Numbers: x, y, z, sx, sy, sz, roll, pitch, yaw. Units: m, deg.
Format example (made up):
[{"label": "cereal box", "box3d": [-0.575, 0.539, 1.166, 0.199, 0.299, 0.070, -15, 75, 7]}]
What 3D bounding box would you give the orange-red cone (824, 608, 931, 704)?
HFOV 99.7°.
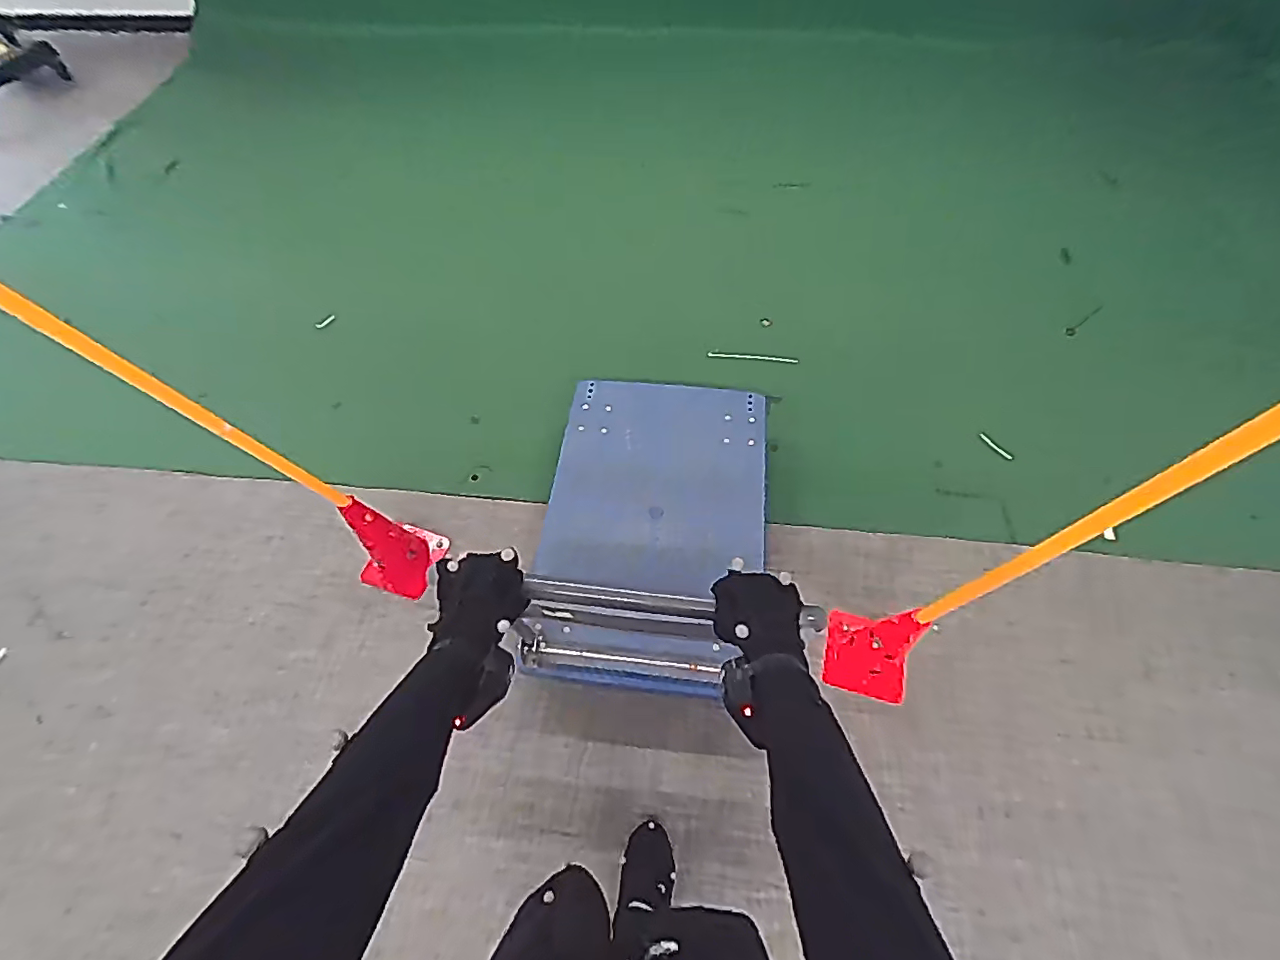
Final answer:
[{"label": "orange-red cone", "box3d": [0.578, 0.368, 1.244, 0.198, 0.360, 0.199, 14, 62, 10]}]
